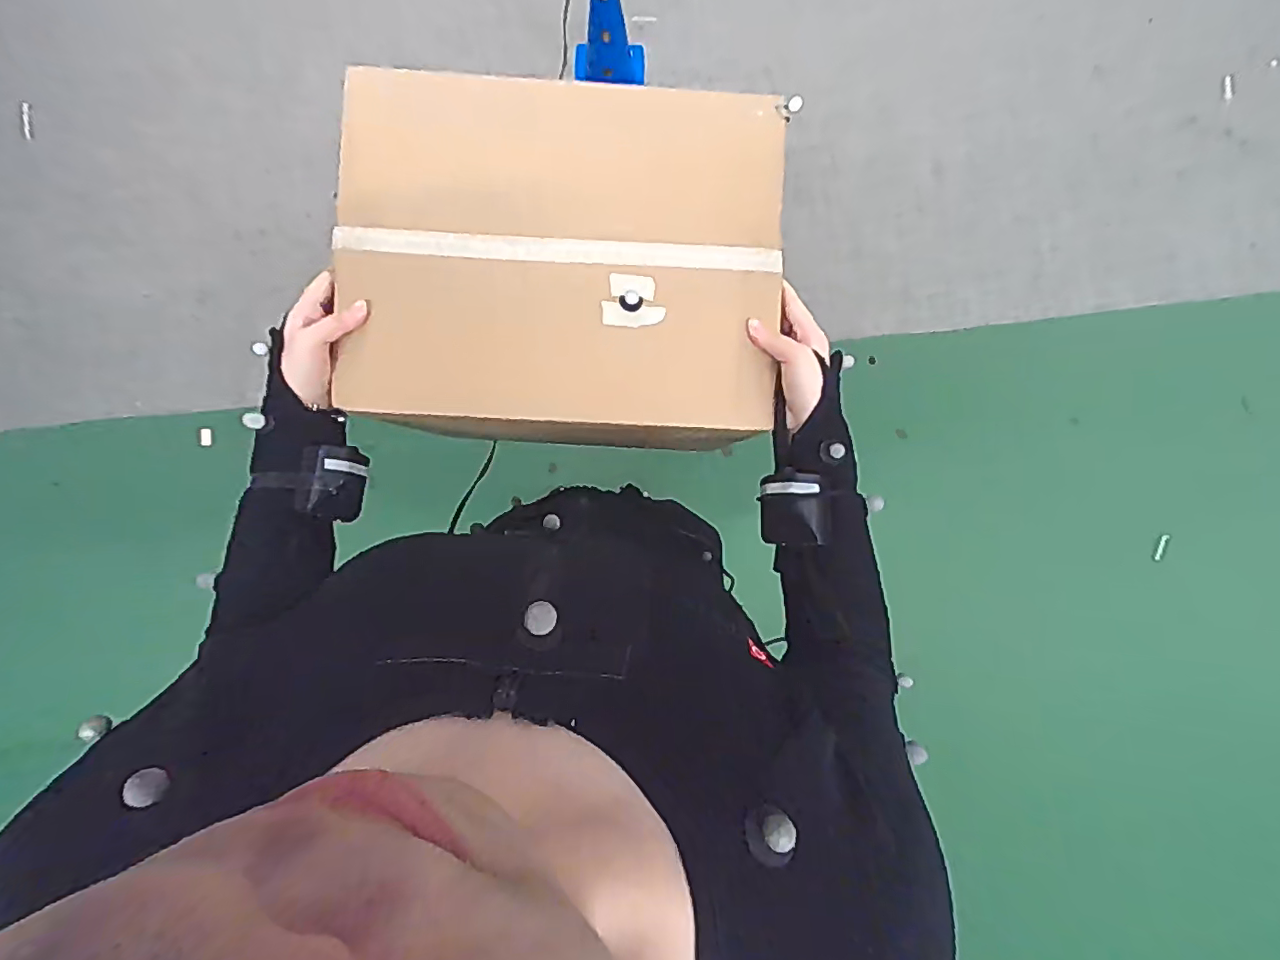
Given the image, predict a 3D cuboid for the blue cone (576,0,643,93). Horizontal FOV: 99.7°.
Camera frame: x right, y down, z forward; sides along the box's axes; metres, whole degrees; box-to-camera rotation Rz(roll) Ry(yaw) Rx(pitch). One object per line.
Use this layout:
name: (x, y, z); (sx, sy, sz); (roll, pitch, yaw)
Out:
blue cone: (-0.084, -1.151, 1.389); (0.193, 0.380, 0.192); (2, 89, -1)

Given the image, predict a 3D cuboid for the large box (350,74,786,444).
large box: (-0.072, -0.213, 0.652); (0.408, 0.320, 0.320); (2, 90, -3)
